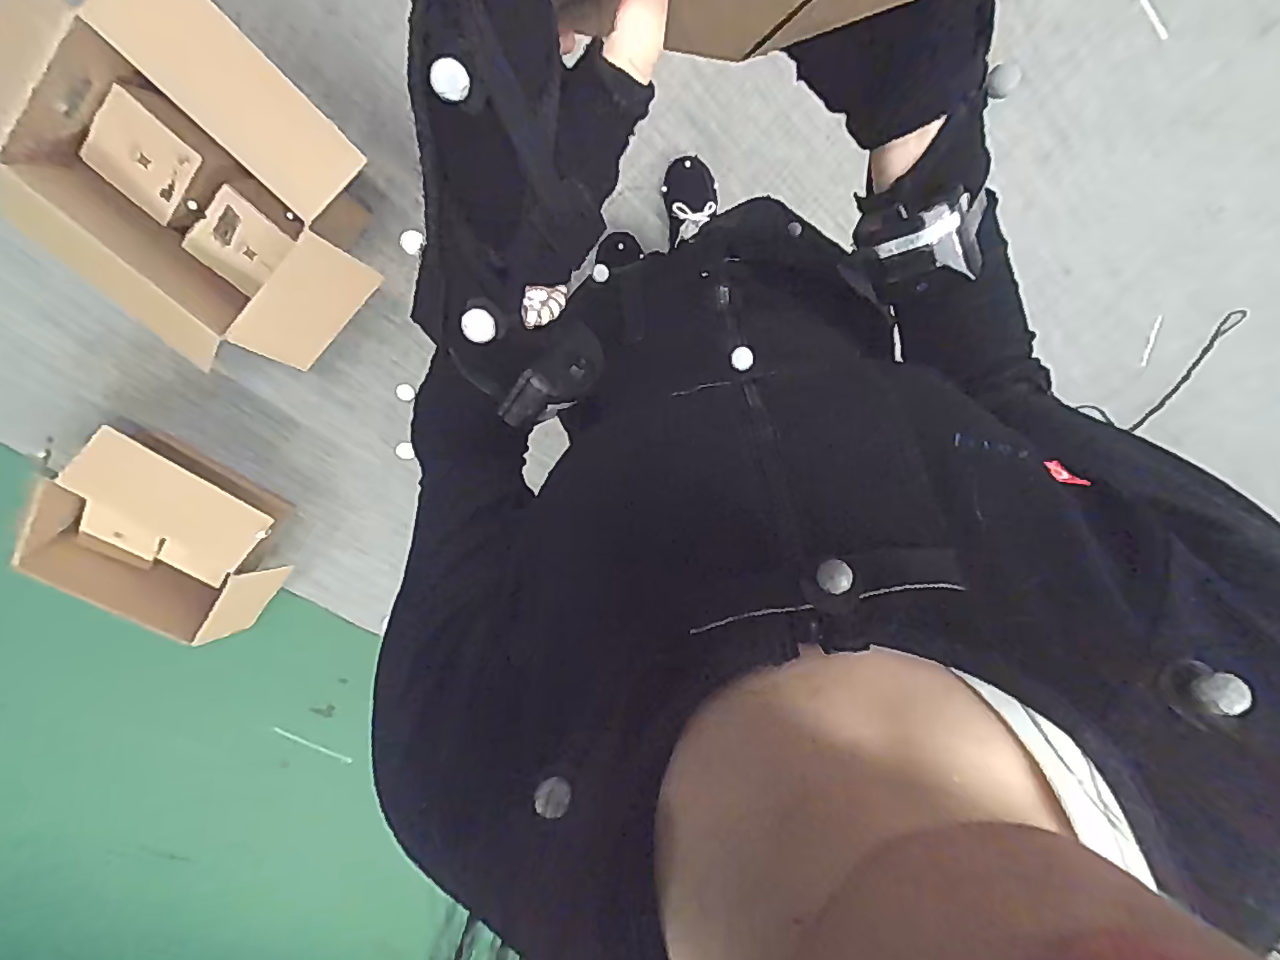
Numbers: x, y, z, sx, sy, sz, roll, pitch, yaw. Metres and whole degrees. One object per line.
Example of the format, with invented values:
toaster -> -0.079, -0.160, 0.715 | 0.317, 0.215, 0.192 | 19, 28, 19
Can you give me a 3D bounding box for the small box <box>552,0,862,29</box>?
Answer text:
small box -> 0.050, -0.265, 0.162 | 0.168, 0.179, 0.176 | -27, 122, -36
